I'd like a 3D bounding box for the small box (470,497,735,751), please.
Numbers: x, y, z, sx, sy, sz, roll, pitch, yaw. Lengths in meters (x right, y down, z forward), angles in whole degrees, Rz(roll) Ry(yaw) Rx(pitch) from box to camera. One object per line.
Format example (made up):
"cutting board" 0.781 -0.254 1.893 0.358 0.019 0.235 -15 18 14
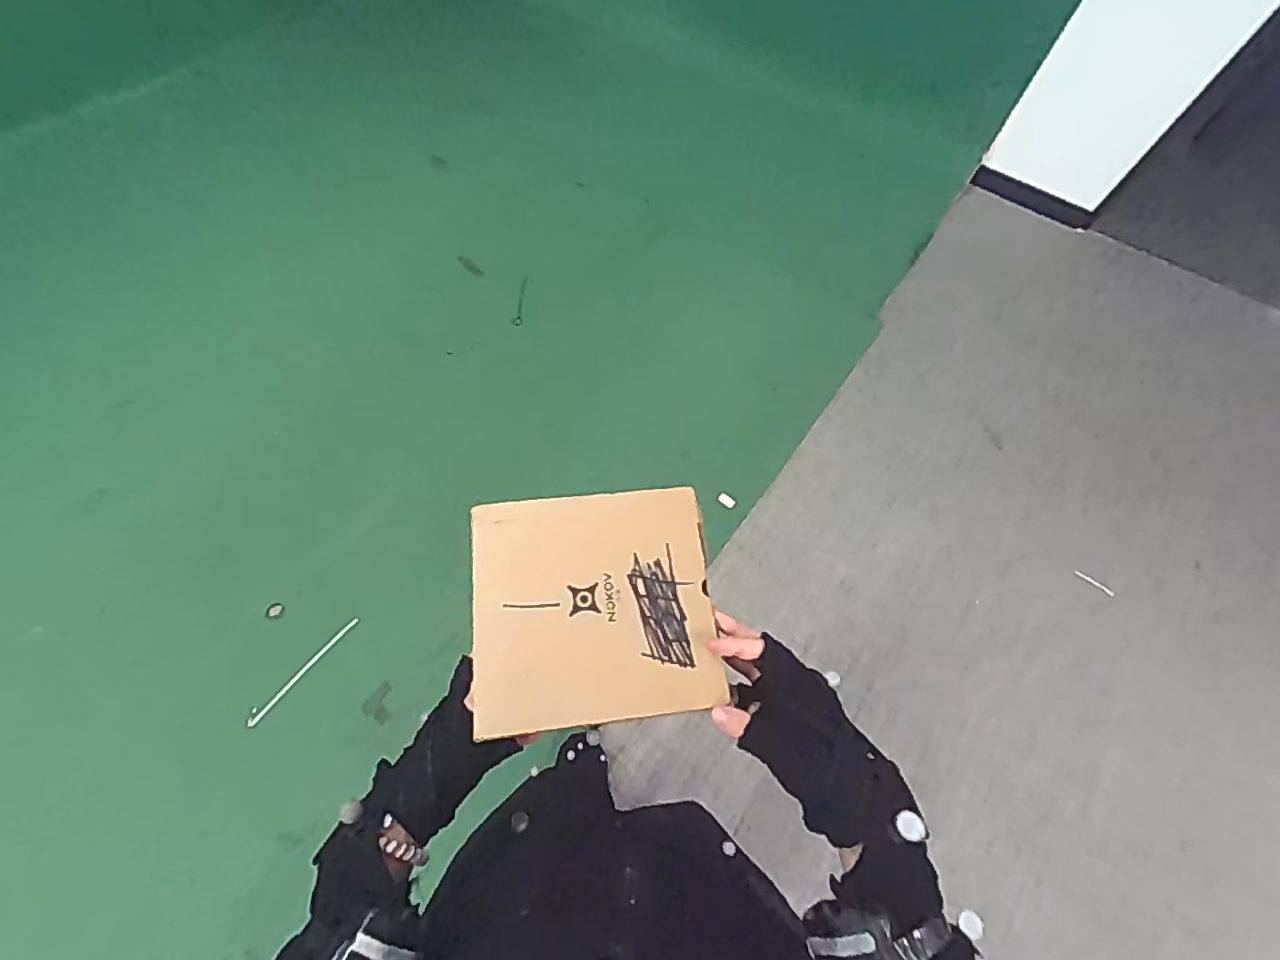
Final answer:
"small box" -0.036 0.123 0.454 0.179 0.176 0.168 -4 67 -7
